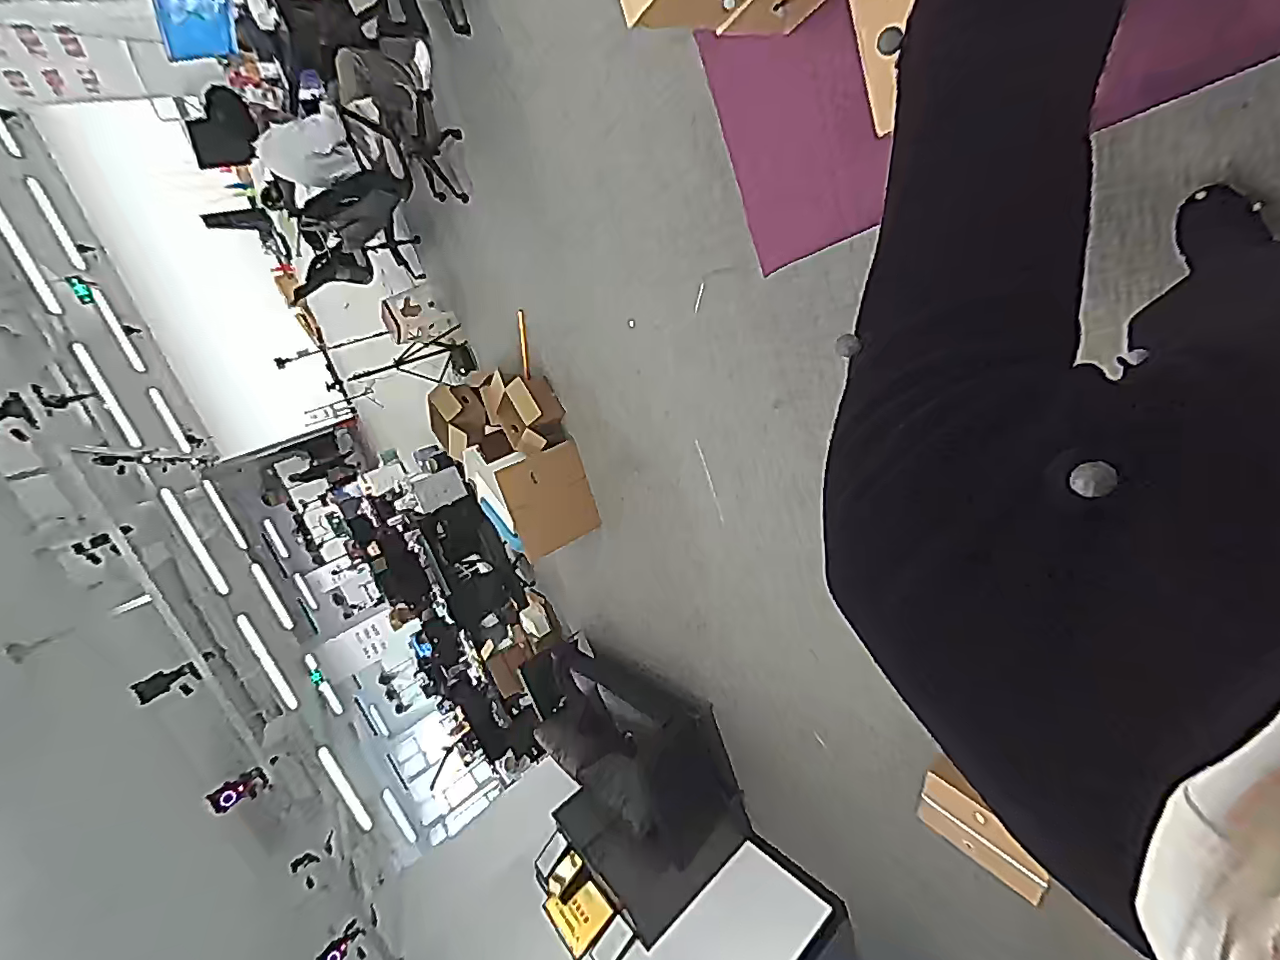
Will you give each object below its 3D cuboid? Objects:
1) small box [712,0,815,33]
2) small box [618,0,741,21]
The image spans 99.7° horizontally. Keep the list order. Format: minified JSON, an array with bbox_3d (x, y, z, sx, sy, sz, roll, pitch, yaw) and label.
[{"bbox_3d":[0.188,-0.765,0.743,0.168,0.176,0.179,0,113,57],"label":"small box"},{"bbox_3d":[0.065,-0.700,0.655,0.168,0.176,0.179,6,120,55],"label":"small box"}]
